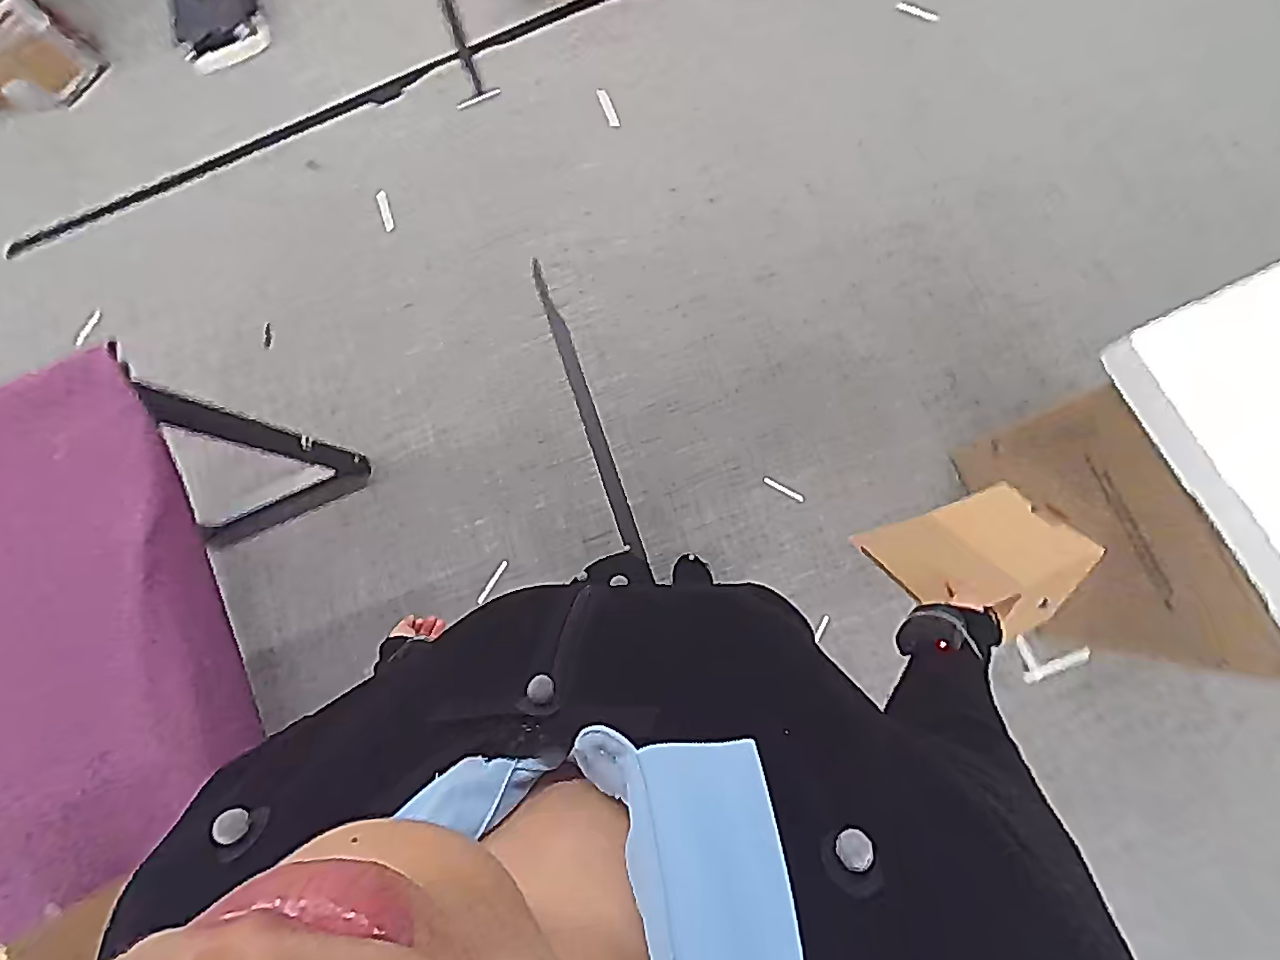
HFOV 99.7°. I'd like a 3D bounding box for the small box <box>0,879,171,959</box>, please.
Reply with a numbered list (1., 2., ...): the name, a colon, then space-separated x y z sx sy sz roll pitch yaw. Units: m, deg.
1. small box: -0.740 0.663 0.676 0.168 0.176 0.179 -32 78 -1
